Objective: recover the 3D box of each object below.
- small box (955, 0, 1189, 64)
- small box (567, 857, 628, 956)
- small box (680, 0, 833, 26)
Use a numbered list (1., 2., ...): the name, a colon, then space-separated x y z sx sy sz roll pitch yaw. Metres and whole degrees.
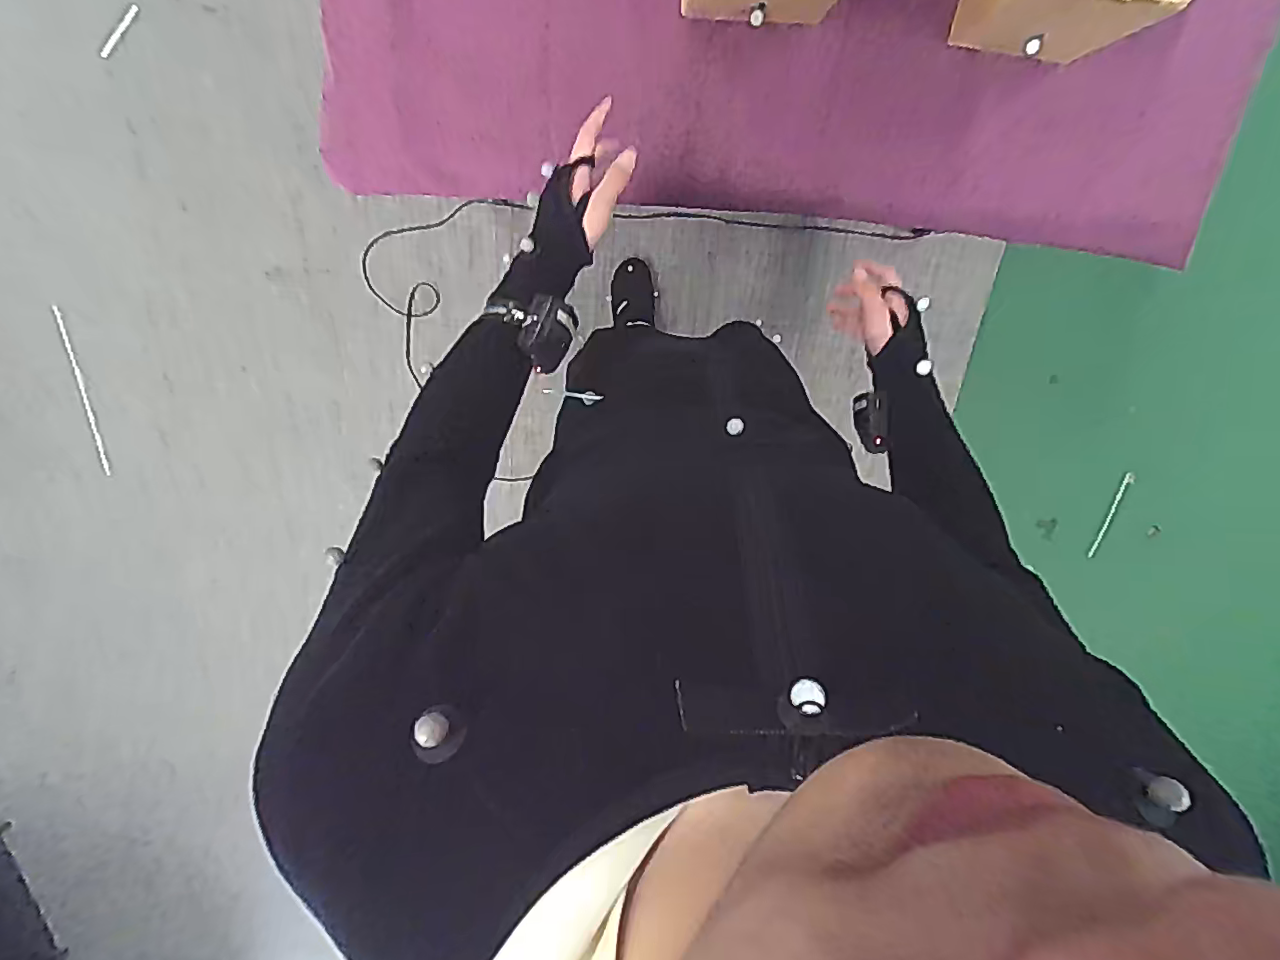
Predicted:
1. small box: 0.486 -0.600 0.593 0.168 0.176 0.179 6 111 -4
2. small box: -0.126 1.294 1.644 0.168 0.176 0.179 6 110 -4
3. small box: 0.142 -0.616 0.573 0.179 0.176 0.168 0 111 -2
